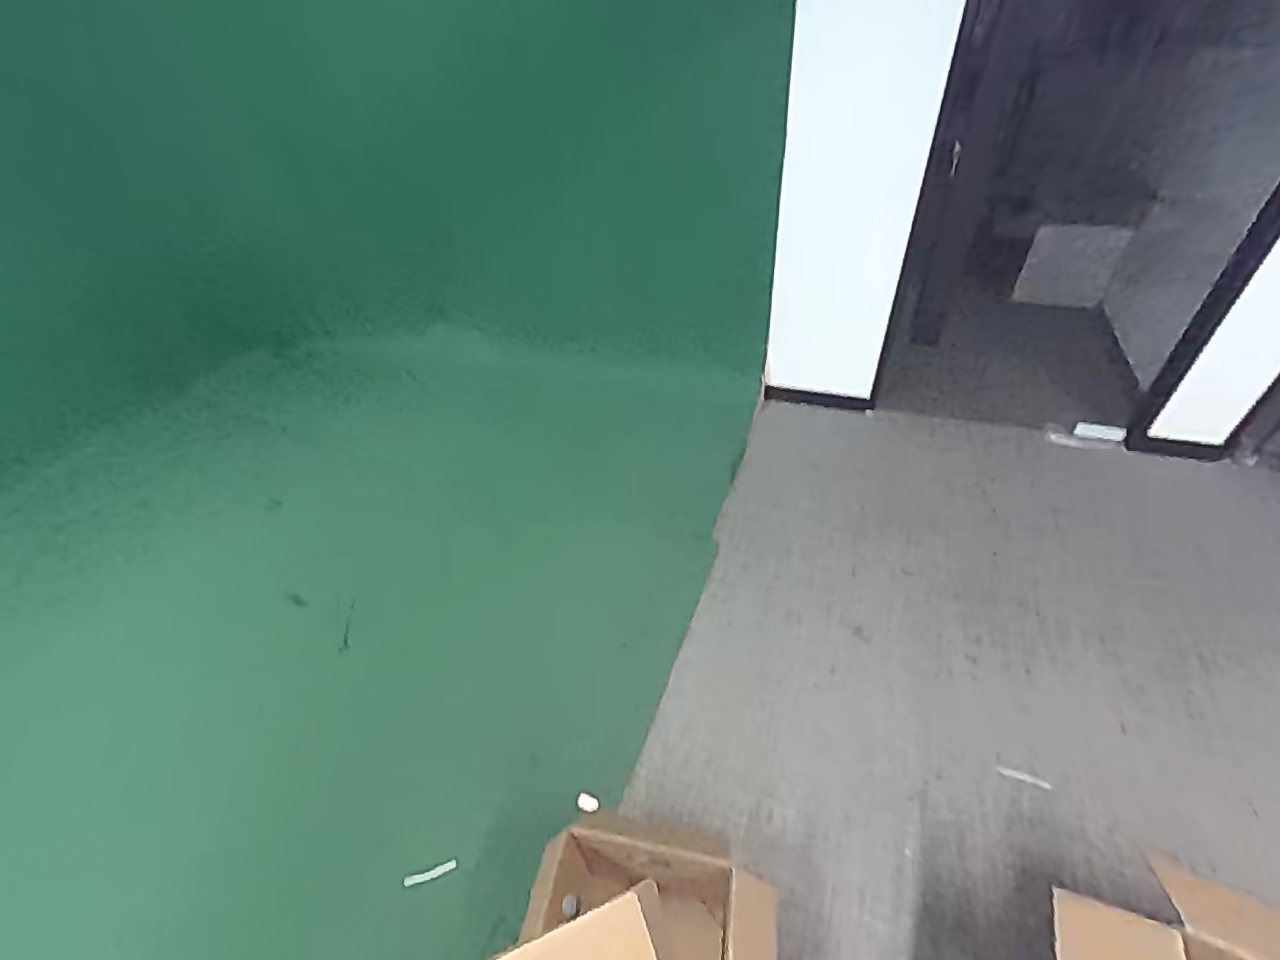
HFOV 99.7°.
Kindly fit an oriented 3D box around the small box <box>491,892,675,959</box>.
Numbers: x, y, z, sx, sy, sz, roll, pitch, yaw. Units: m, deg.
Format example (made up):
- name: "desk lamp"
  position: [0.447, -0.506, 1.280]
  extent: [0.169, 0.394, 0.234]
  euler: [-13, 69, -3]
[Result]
- name: "small box"
  position: [-0.042, 0.425, 0.381]
  extent: [0.168, 0.176, 0.179]
  euler: [-21, 57, -9]
